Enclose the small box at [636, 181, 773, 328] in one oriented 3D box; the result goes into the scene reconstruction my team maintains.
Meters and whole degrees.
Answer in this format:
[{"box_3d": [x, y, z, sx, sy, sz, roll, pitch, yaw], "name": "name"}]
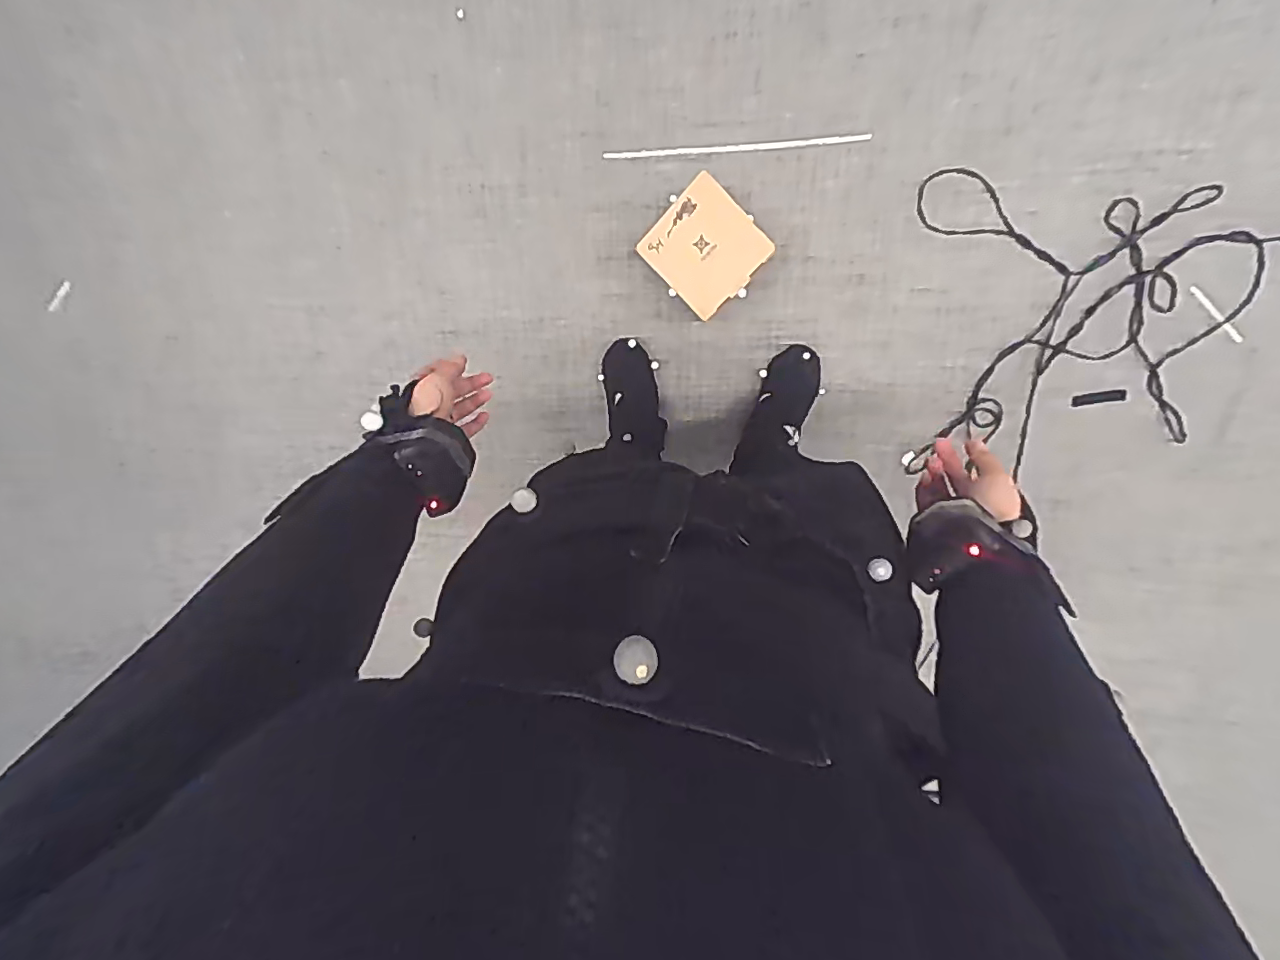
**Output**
[{"box_3d": [0.120, -0.403, 0.988, 0.179, 0.176, 0.168, 45, 108, -7], "name": "small box"}]
